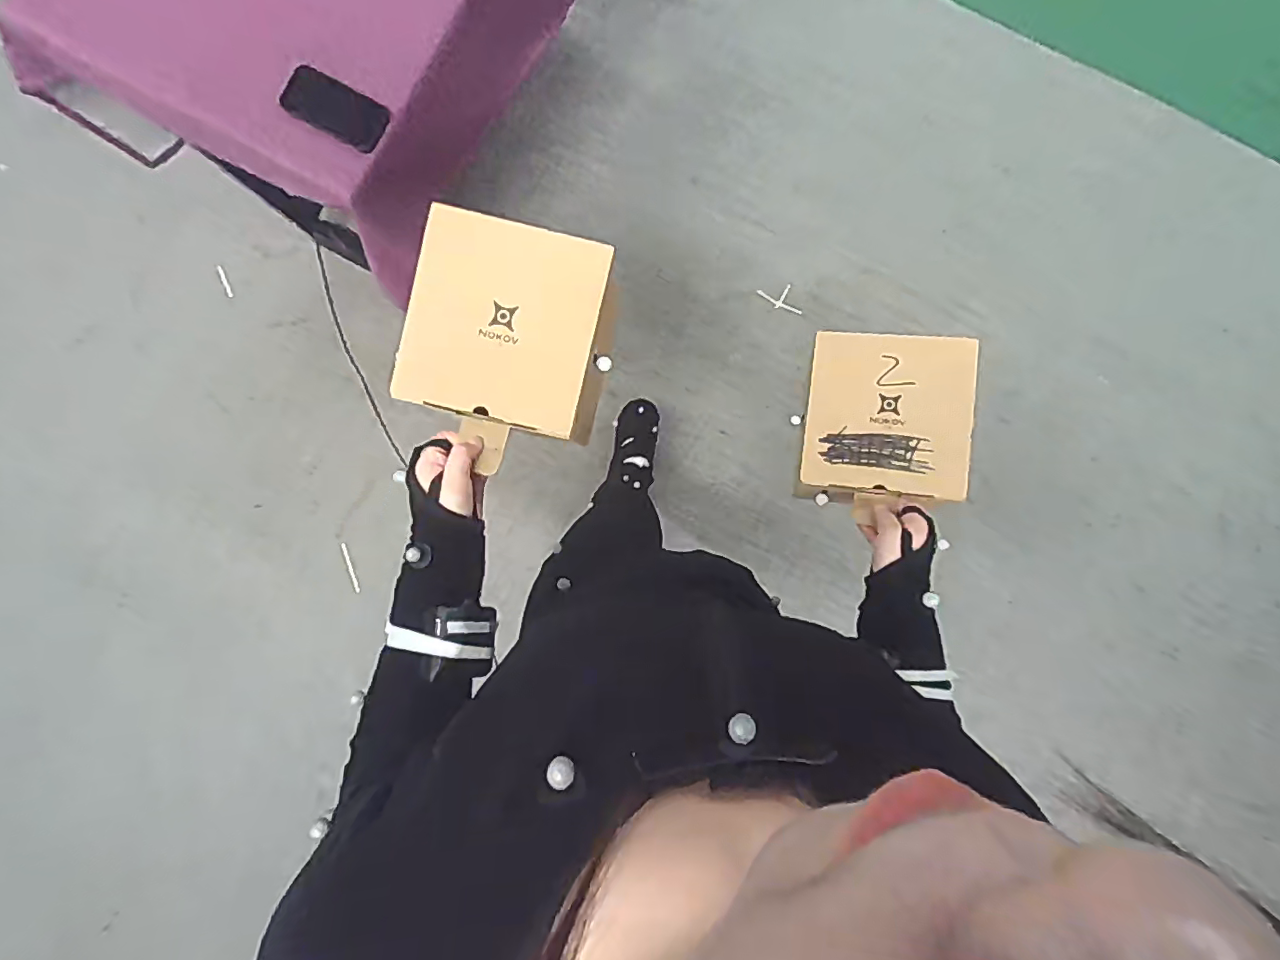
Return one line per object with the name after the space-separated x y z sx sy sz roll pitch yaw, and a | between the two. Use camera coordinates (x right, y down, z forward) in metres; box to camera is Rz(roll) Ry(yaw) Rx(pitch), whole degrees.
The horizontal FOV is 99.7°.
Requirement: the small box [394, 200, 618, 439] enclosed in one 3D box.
-0.122 -0.147 0.561 0.168 0.176 0.179 14 92 -1 | small box
